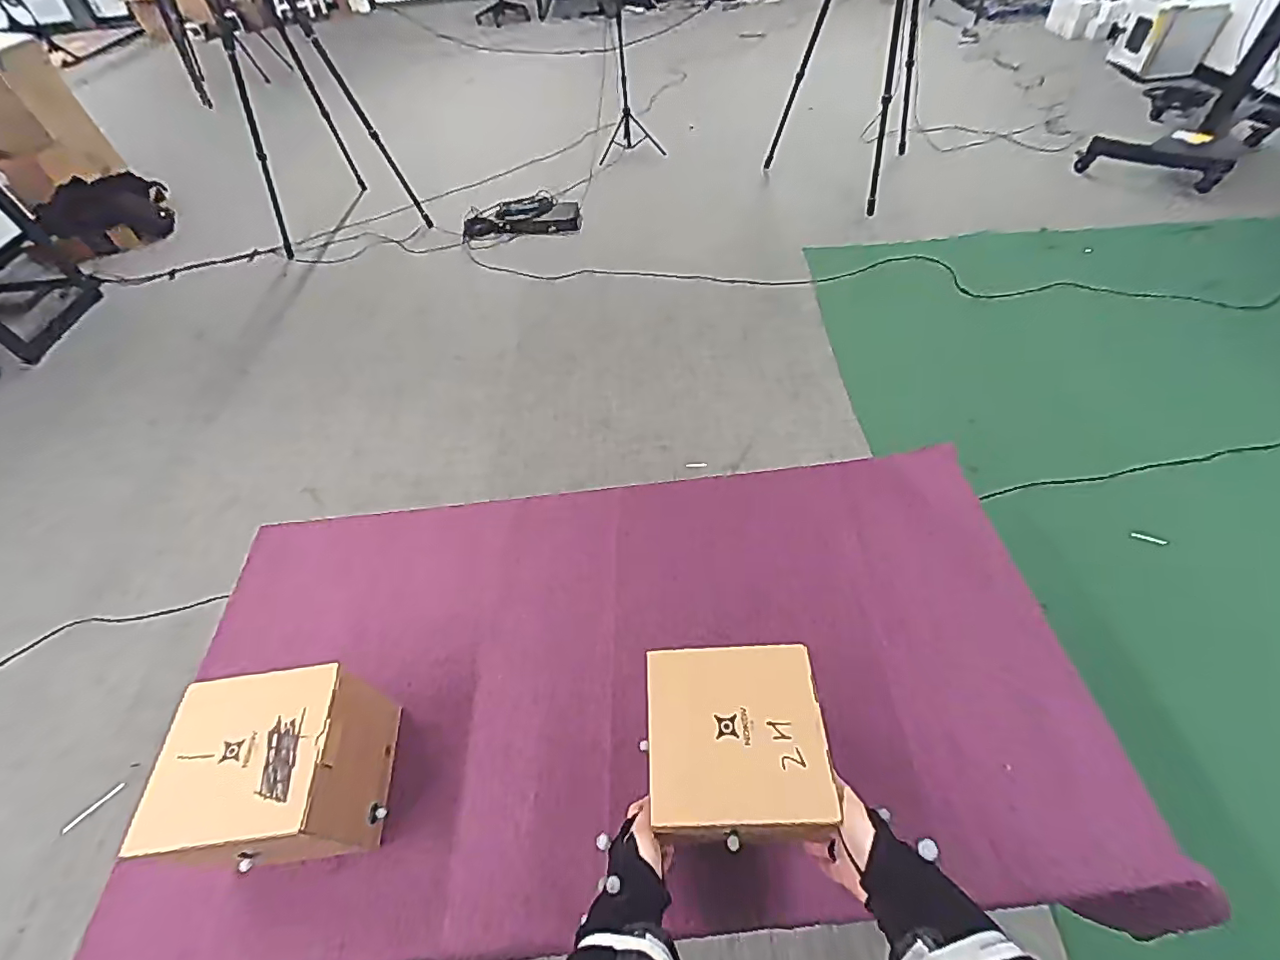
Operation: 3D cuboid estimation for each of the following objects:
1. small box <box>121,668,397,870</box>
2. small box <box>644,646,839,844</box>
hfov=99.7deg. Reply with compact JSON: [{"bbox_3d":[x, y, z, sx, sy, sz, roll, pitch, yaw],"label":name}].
[{"bbox_3d":[-0.405,0.334,0.619,0.179,0.176,0.168,-9,51,0],"label":"small box"},{"bbox_3d":[0.100,0.296,0.597,0.179,0.176,0.168,-3,52,4],"label":"small box"}]
